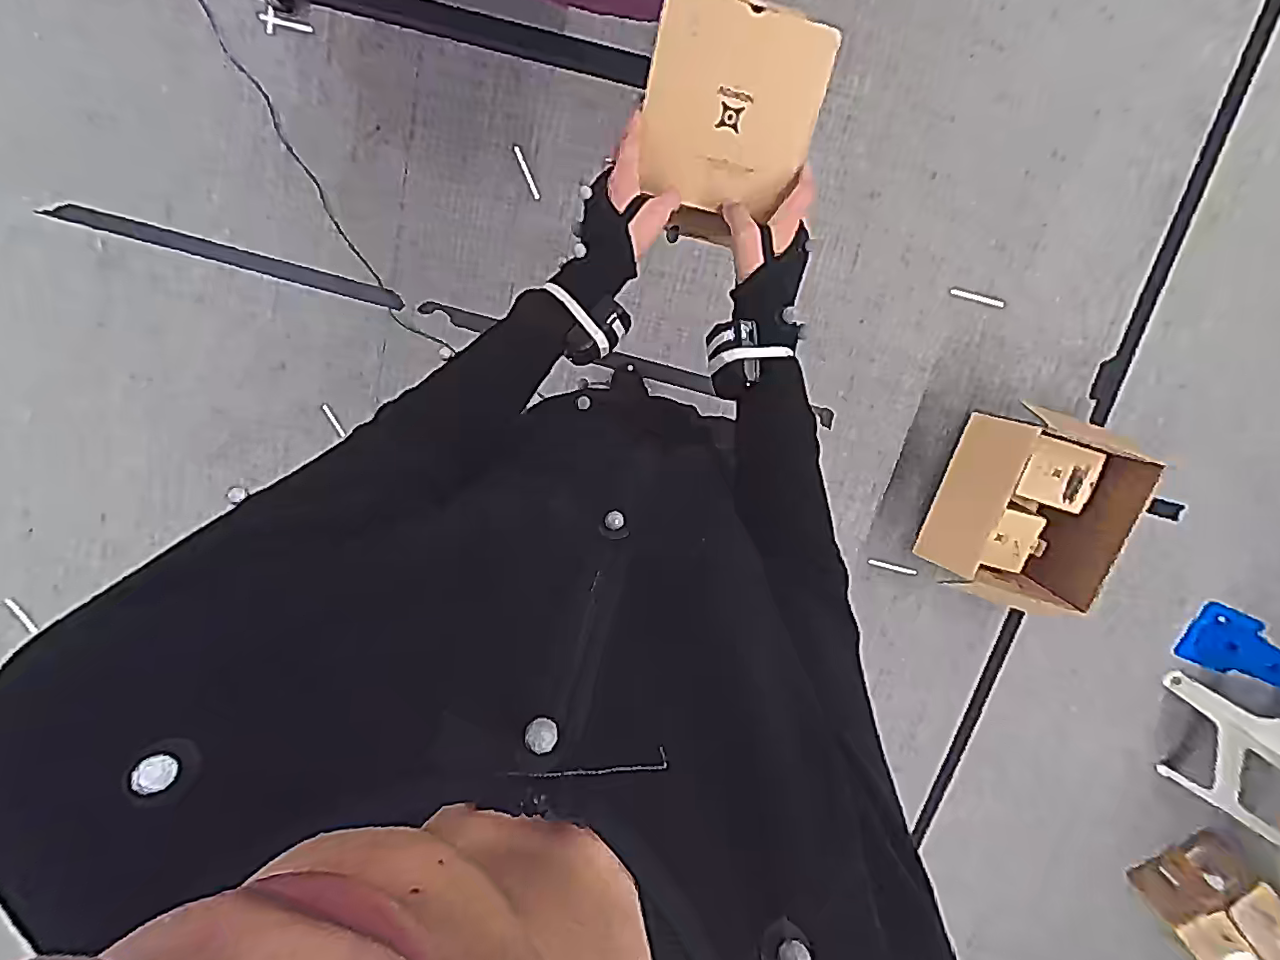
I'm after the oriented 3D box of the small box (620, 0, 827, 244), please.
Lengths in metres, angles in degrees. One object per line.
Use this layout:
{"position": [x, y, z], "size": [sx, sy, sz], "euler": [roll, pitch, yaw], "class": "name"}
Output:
{"position": [0.073, -0.377, 0.589], "size": [0.168, 0.176, 0.179], "euler": [11, 105, -6], "class": "small box"}
